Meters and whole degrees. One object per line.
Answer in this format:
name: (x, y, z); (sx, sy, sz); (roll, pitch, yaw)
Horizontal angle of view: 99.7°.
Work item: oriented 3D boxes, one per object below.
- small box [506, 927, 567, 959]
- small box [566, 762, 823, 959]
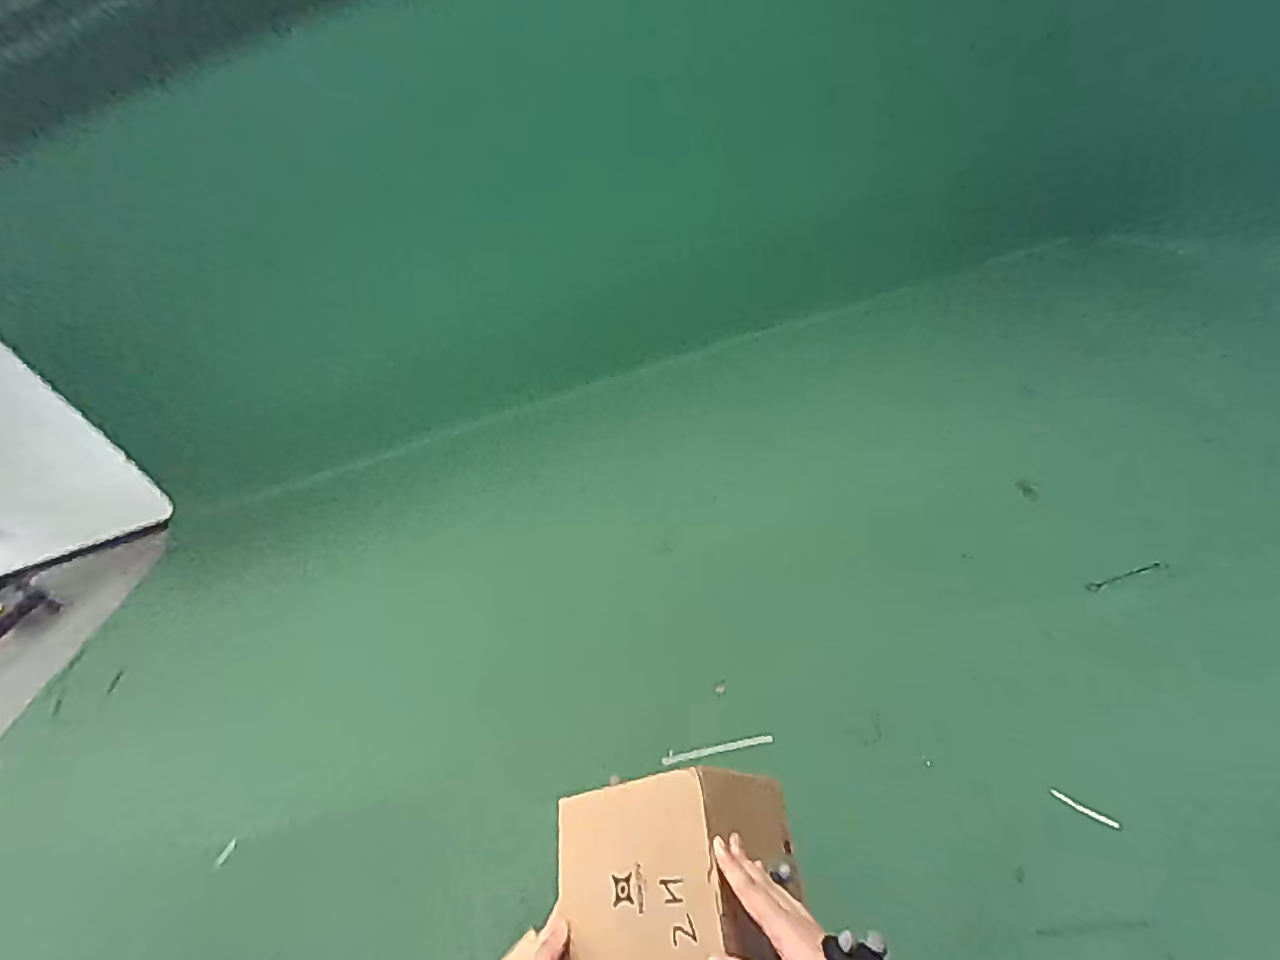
small box: (-0.208, 1.105, 1.130); (0.168, 0.176, 0.179); (-38, 40, -22)
small box: (0.048, 0.387, 0.525); (0.179, 0.176, 0.168); (-28, 48, 26)
